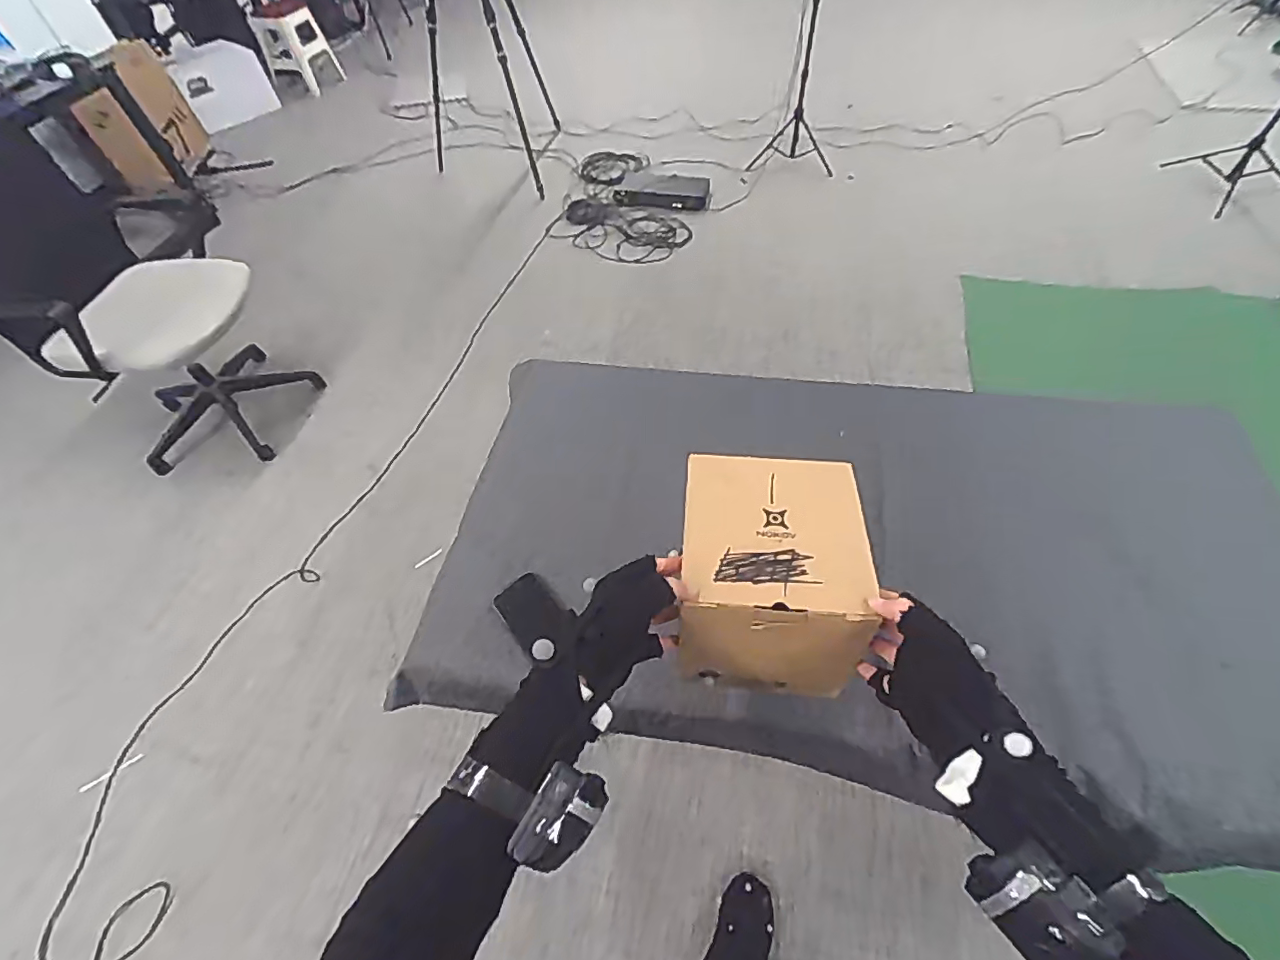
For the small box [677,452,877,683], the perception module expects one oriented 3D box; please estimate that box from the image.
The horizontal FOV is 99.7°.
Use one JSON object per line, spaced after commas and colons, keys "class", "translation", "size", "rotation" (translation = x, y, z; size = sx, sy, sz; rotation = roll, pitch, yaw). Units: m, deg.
{"class": "small box", "translation": [0.126, 0.093, 0.562], "size": [0.168, 0.176, 0.179], "rotation": [4, 47, 5]}
